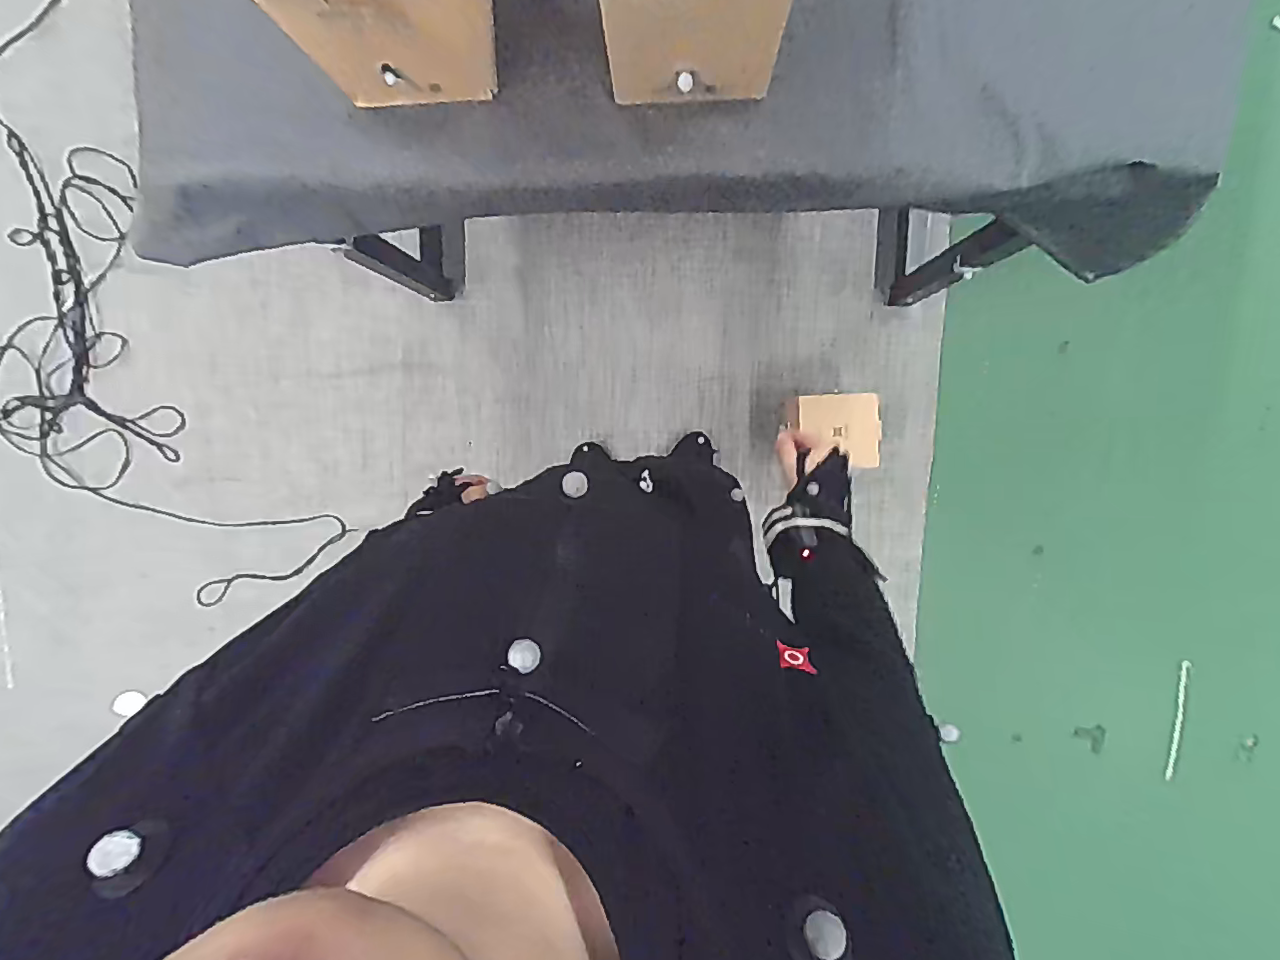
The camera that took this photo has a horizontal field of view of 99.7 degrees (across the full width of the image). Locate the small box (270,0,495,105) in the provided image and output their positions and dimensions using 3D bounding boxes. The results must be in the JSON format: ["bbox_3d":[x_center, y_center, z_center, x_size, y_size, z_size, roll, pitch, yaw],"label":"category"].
[{"bbox_3d":[-0.247,-0.506,0.524,0.168,0.176,0.179,-2,96,3],"label":"small box"}]

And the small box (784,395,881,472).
[{"bbox_3d":[0.440,-0.109,1.256,0.179,0.176,0.168,-3,94,4],"label":"small box"}]

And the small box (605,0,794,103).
[{"bbox_3d":[0.051,-0.494,0.505,0.168,0.176,0.179,0,95,4],"label":"small box"}]
